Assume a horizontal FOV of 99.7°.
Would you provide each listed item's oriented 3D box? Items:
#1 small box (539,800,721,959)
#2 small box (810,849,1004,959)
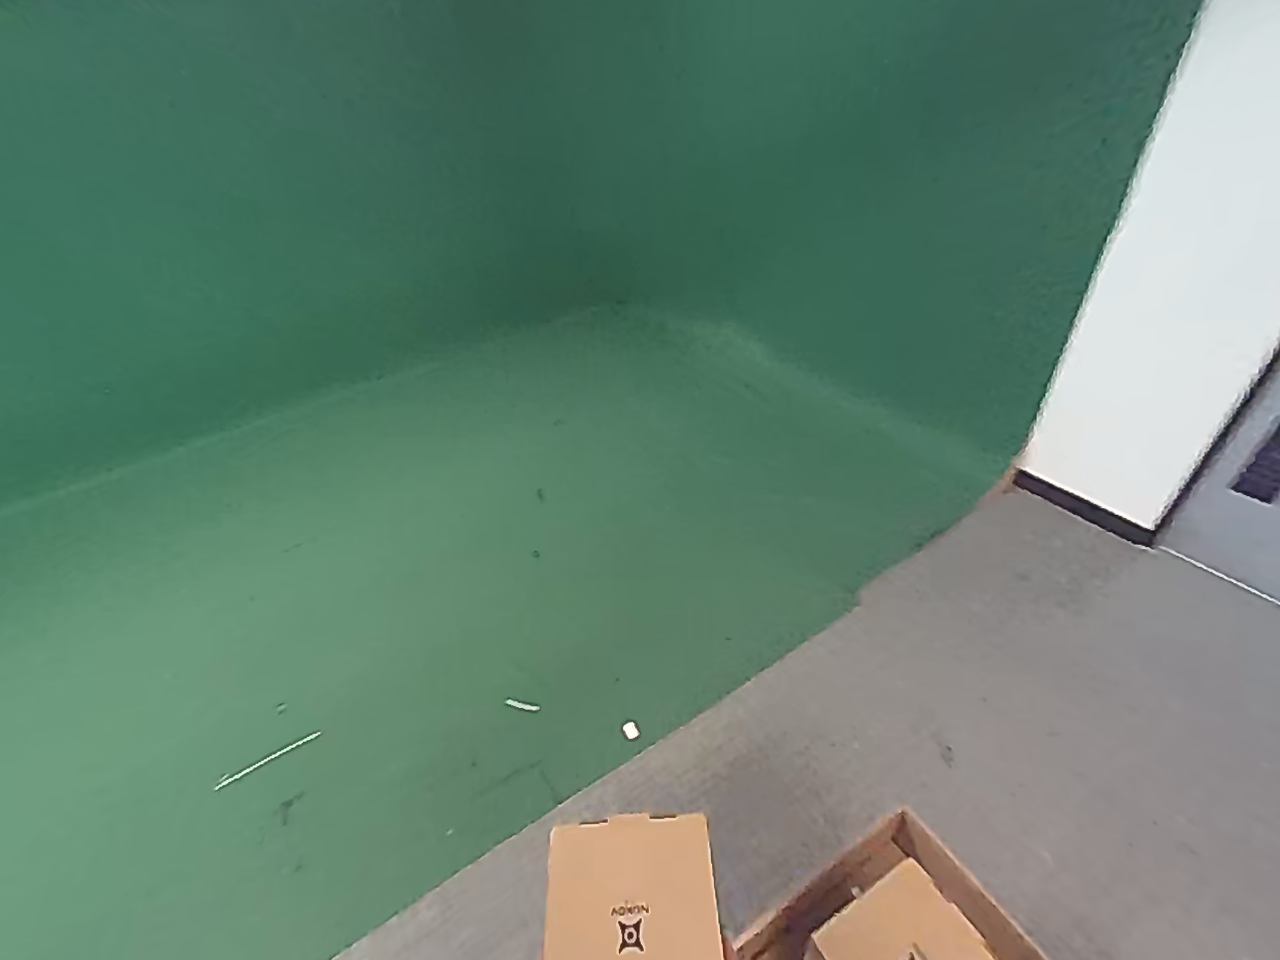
[{"bbox_3d":[-0.007,0.463,0.562,0.168,0.176,0.179,-6,42,0],"label":"small box"},{"bbox_3d":[0.337,0.629,0.696,0.179,0.176,0.168,-24,41,-16],"label":"small box"}]
